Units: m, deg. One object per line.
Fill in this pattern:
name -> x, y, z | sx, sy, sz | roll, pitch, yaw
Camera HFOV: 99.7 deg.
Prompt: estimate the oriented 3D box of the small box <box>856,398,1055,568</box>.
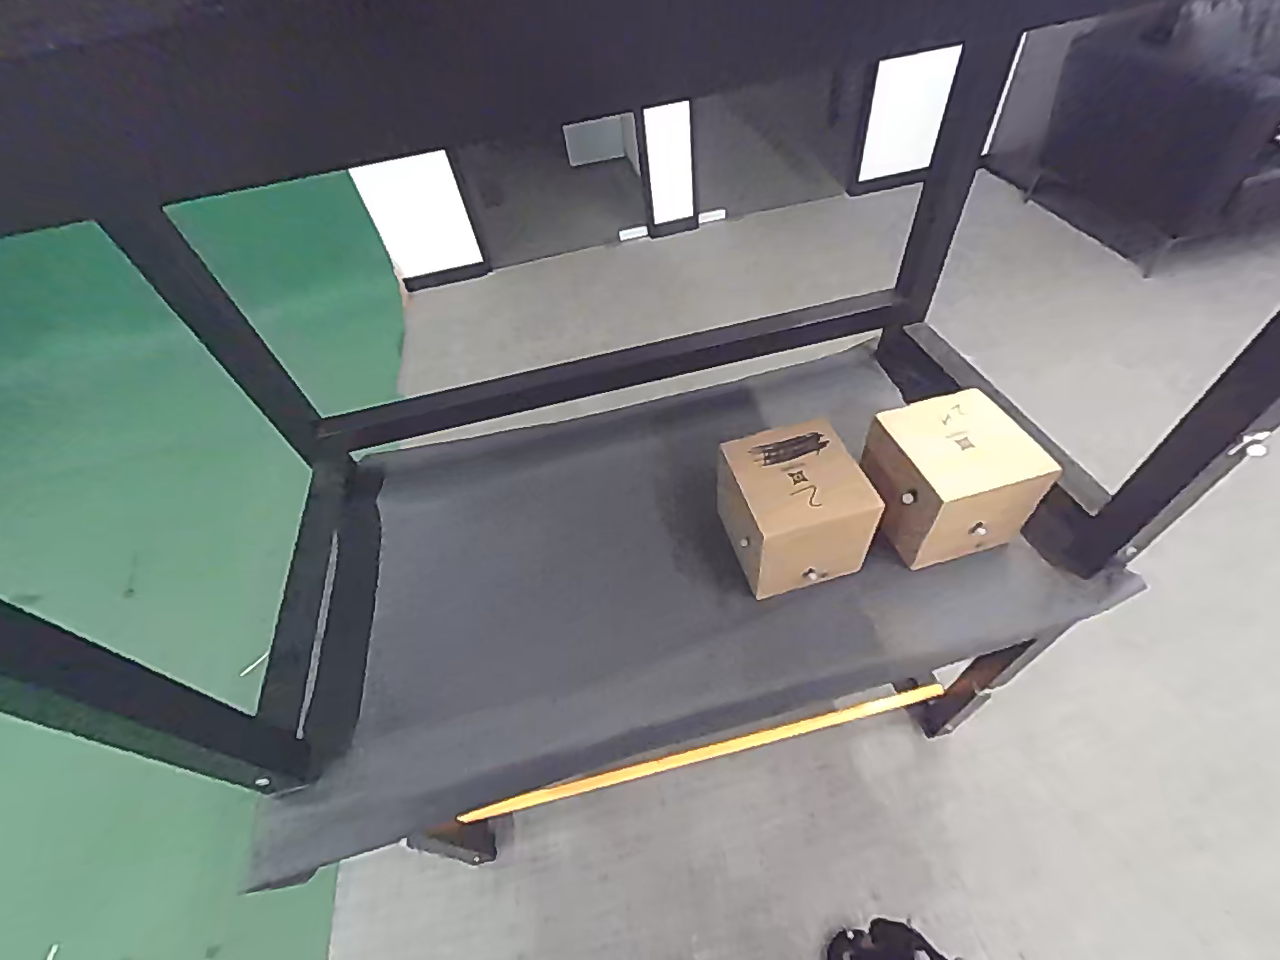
small box -> 0.447, 0.012, 0.802 | 0.168, 0.176, 0.179 | -15, 48, -4
